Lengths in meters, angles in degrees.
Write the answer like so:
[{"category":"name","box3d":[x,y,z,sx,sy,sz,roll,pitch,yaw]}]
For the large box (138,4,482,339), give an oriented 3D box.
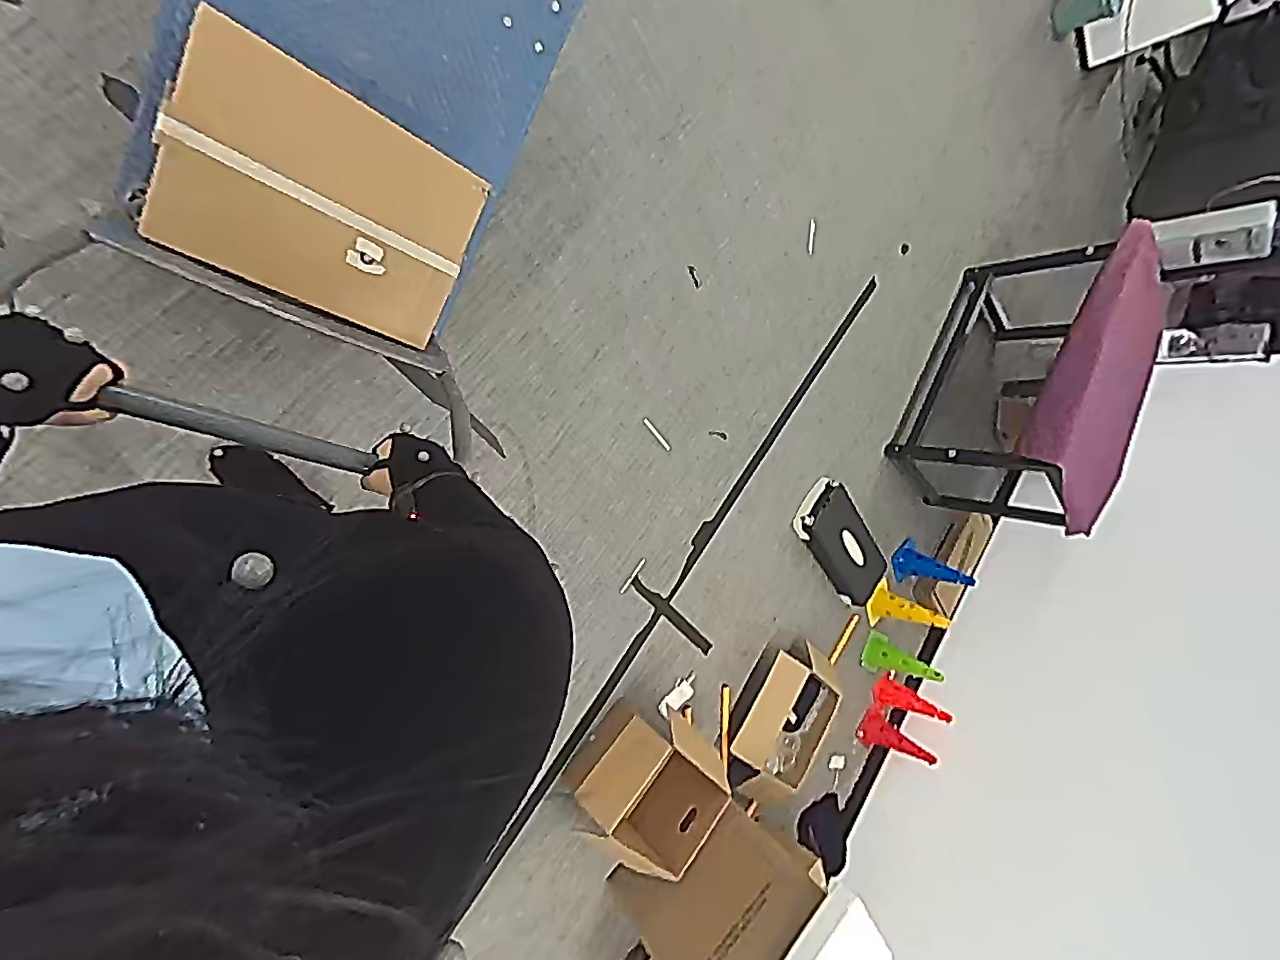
[{"category":"large box","box3d":[-0.562,-0.505,0.959,0.408,0.320,0.320,20,106,-38]}]
